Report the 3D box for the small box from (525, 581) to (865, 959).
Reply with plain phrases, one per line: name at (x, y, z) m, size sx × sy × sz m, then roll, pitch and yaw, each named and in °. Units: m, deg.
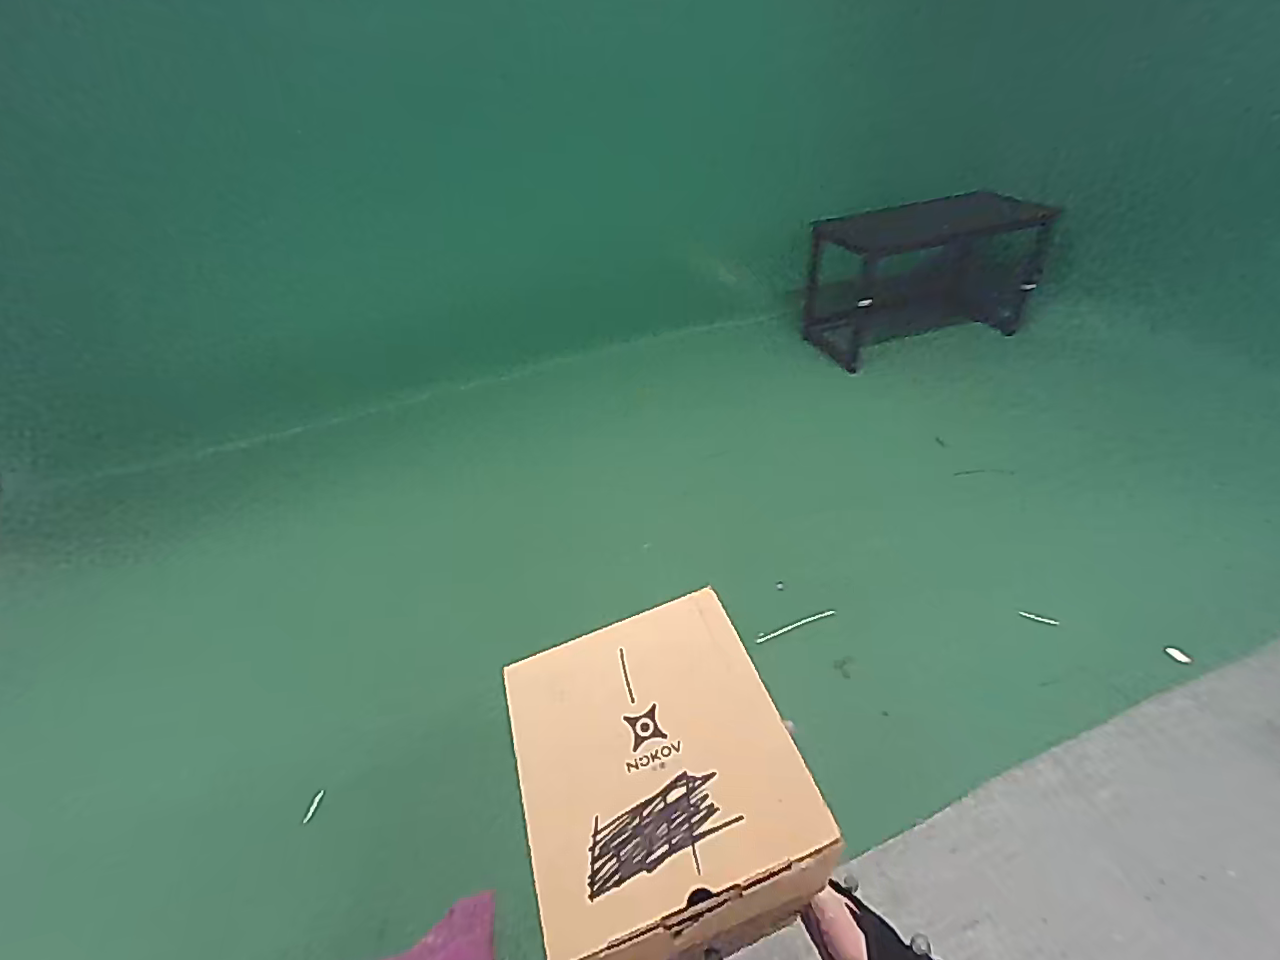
small box at (0.032, 0.210, 0.386) m, size 0.168 × 0.176 × 0.179 m, roll -19°, pitch 45°, yaw -5°
